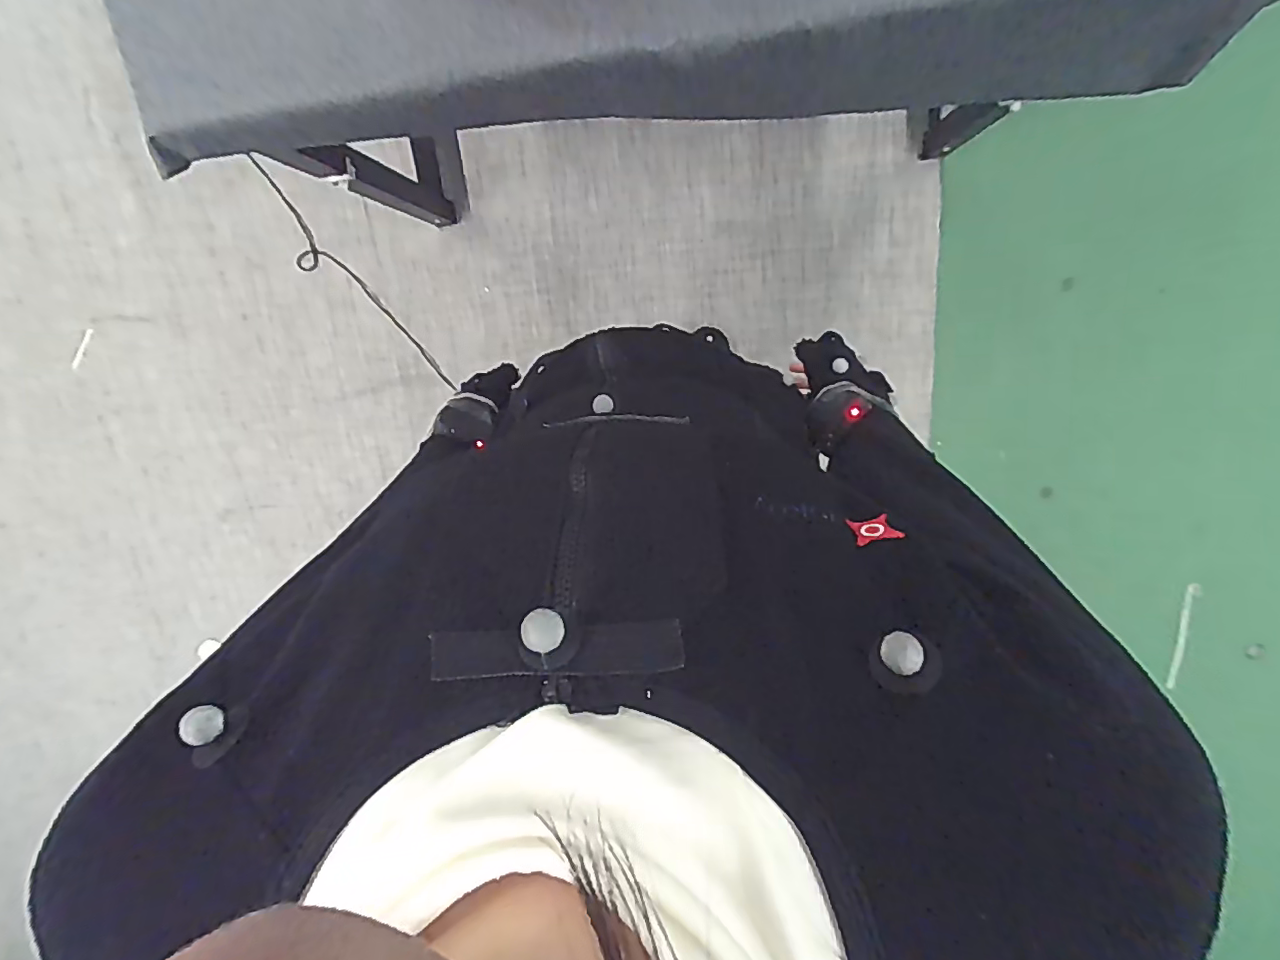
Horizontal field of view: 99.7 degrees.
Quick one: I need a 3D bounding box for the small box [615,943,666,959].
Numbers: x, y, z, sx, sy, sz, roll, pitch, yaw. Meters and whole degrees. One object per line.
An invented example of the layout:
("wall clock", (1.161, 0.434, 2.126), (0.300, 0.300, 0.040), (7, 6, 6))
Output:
("small box", (0.002, 1.751, 1.874), (0.179, 0.176, 0.168), (-4, 106, 4))
